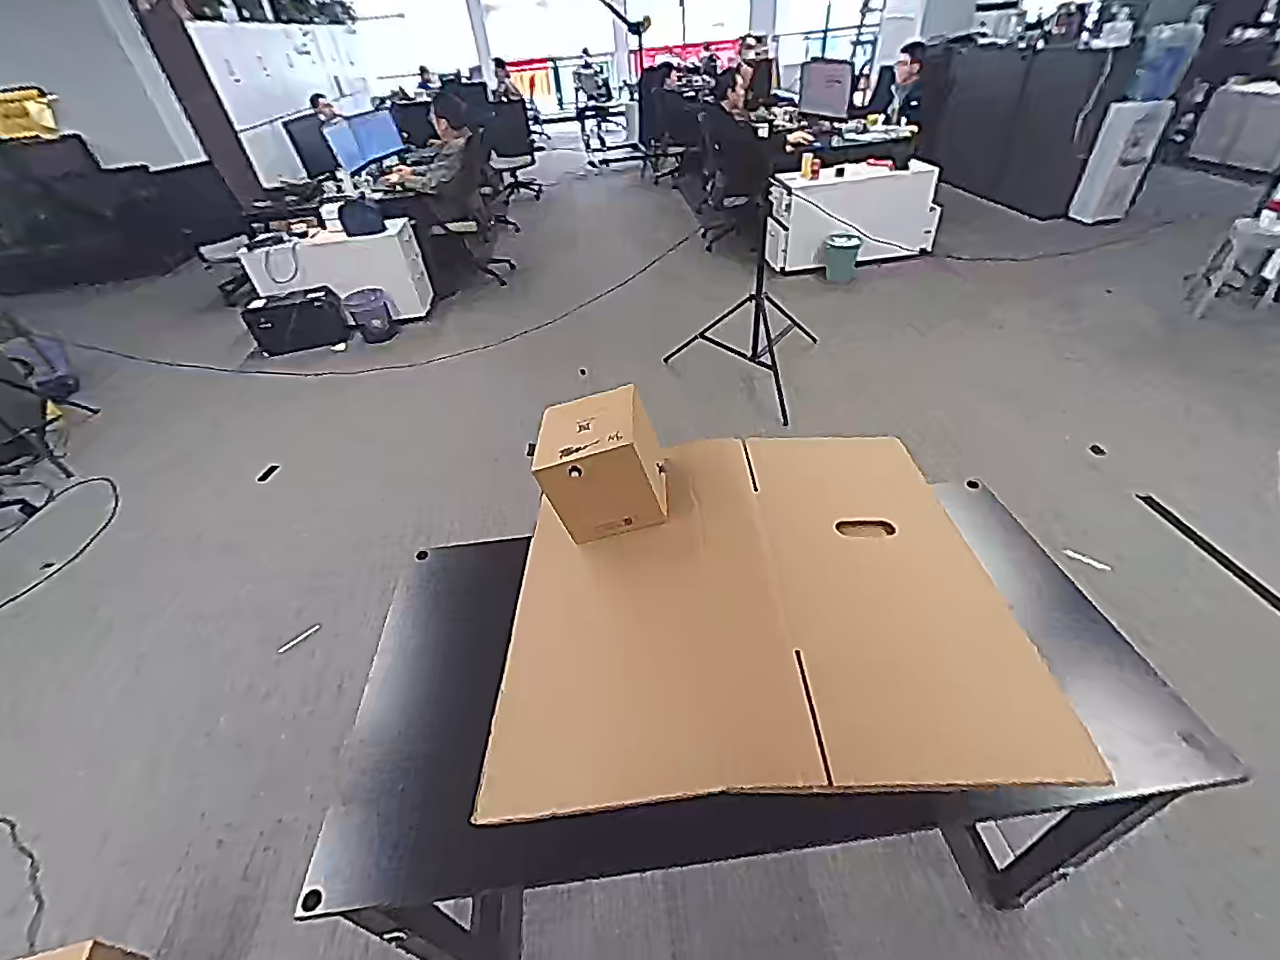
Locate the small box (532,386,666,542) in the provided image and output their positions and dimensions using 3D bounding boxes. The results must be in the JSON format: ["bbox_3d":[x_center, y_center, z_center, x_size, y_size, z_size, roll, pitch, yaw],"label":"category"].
[{"bbox_3d":[-0.059,-0.025,0.905,0.168,0.176,0.179,-15,37,12],"label":"small box"}]

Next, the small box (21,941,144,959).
[{"bbox_3d":[-1.049,0.970,0.964,0.168,0.176,0.179,-11,39,-7],"label":"small box"}]
